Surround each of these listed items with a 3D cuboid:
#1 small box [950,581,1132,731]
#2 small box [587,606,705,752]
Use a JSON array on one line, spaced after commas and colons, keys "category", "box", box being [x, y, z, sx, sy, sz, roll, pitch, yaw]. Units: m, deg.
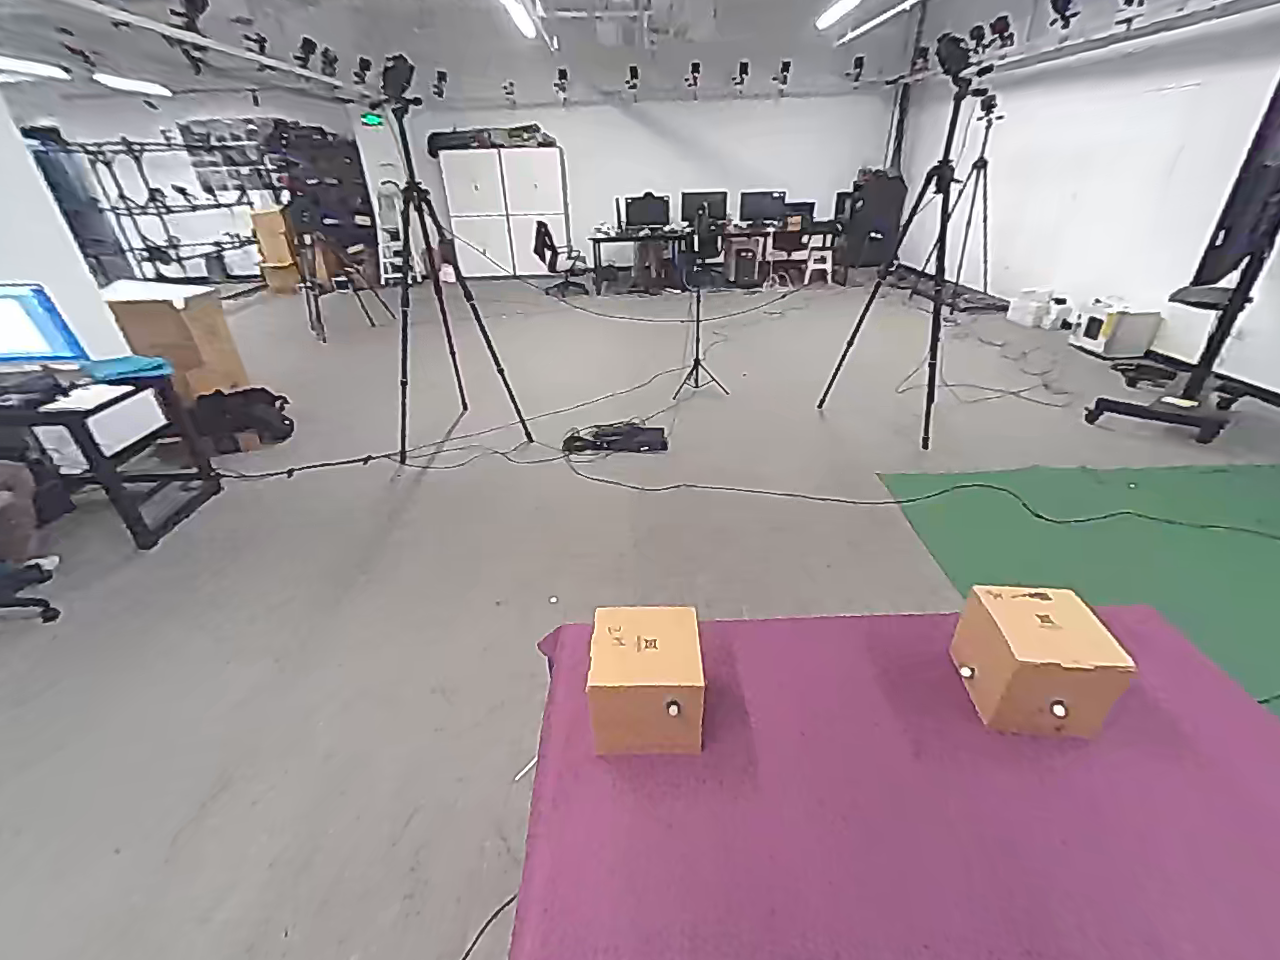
[{"category": "small box", "box": [0.655, 0.295, 0.910, 0.168, 0.176, 0.179, 2, 31, 7]}, {"category": "small box", "box": [0.011, 0.330, 0.902, 0.179, 0.176, 0.168, -1, 30, 2]}]
